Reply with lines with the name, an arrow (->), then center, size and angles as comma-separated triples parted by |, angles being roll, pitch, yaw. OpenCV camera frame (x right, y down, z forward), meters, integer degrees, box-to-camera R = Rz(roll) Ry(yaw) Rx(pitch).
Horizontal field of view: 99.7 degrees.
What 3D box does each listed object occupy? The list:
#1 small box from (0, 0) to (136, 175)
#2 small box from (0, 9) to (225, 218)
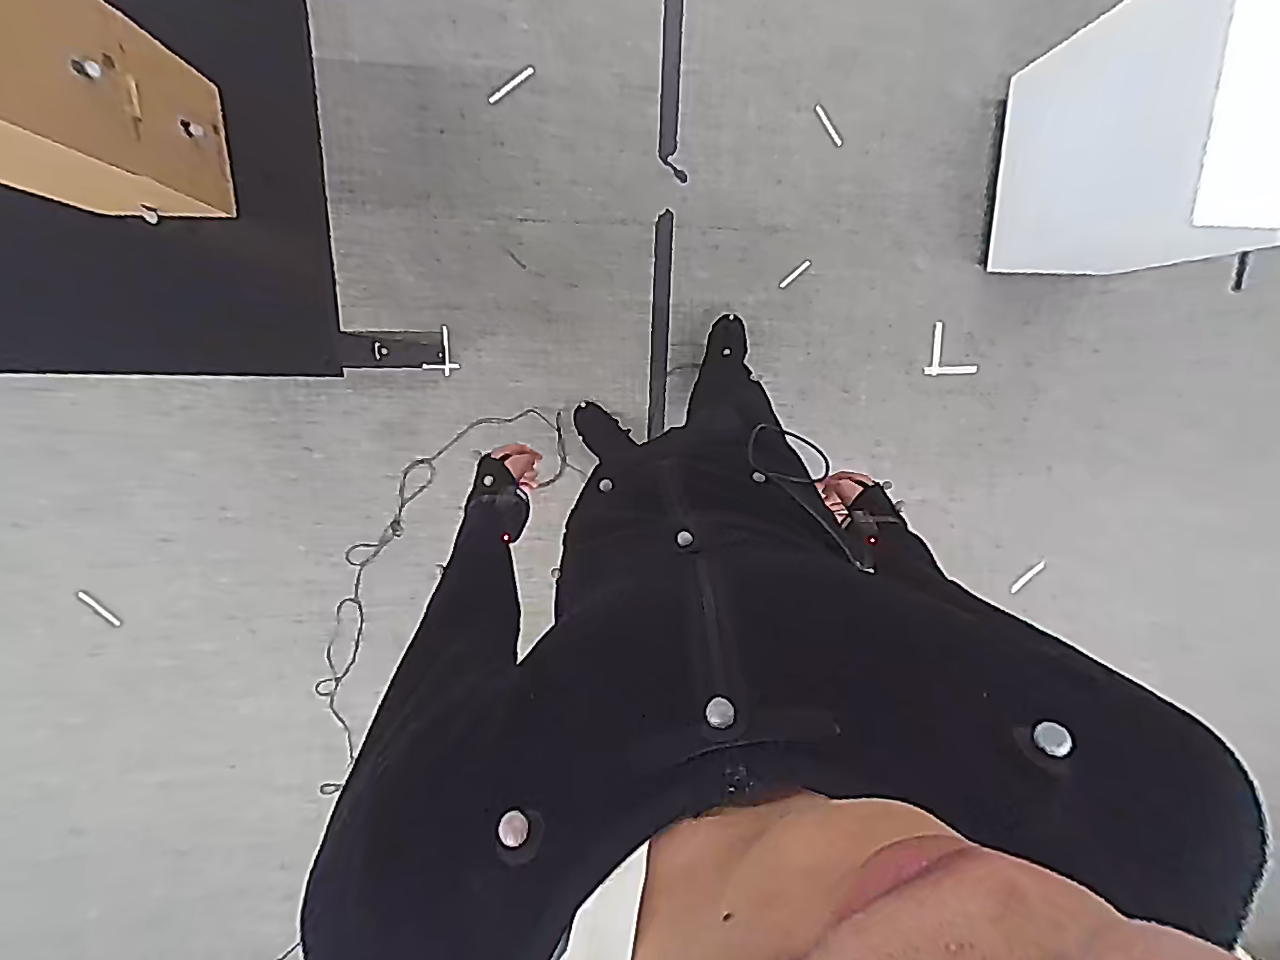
small box -> -0.623, -0.391, 0.485 | 0.179, 0.176, 0.168 | -2, 102, -6
small box -> -0.638, -0.424, 0.646 | 0.179, 0.176, 0.168 | -2, 102, -6
